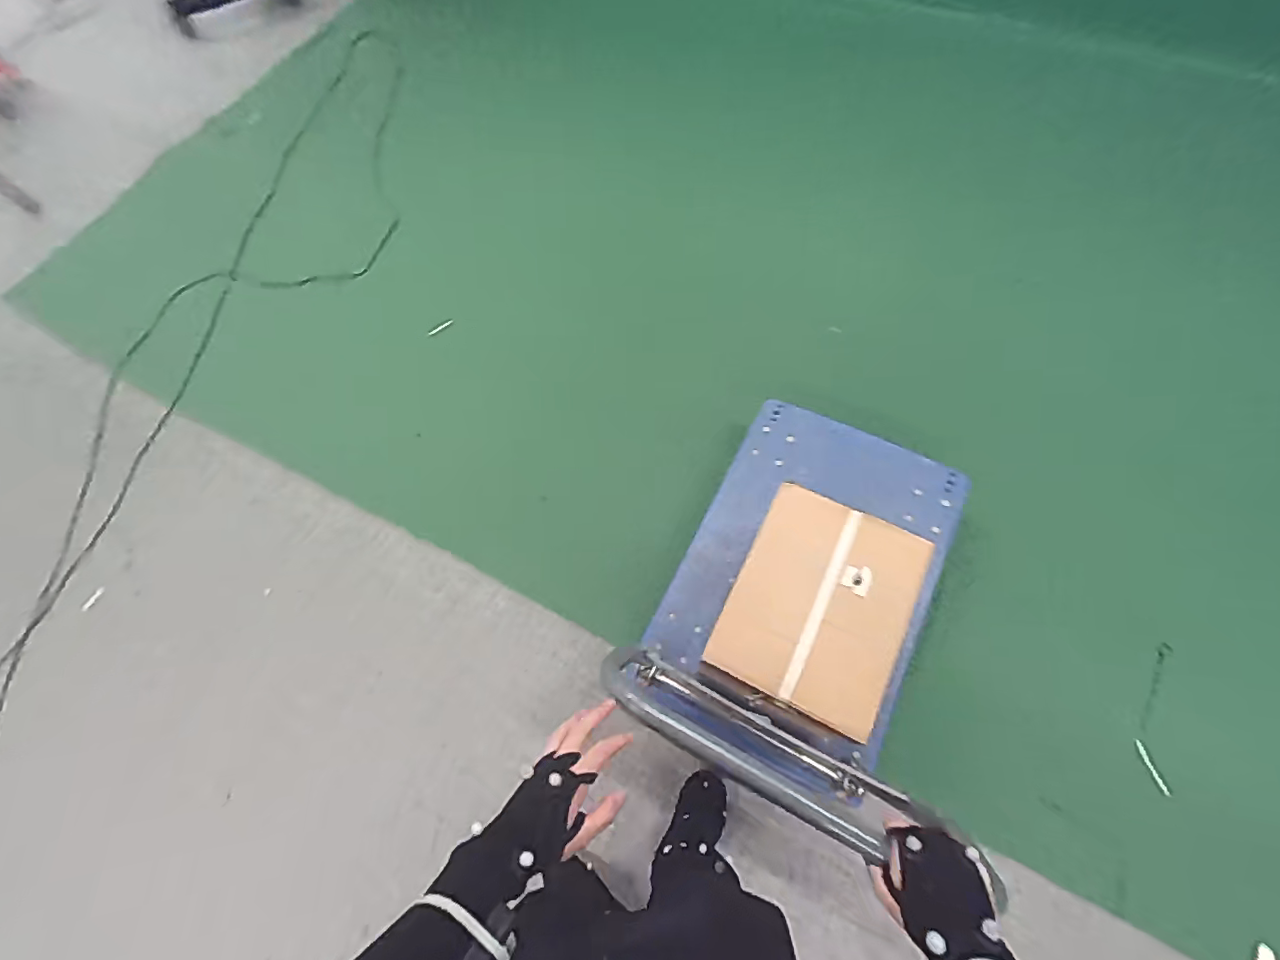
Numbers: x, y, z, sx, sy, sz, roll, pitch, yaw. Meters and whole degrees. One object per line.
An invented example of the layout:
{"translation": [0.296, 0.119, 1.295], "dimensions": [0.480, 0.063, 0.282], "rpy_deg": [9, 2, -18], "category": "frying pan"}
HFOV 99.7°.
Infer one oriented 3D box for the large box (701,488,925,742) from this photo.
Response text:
{"translation": [0.351, 0.298, 1.173], "dimensions": [0.320, 0.320, 0.408], "rpy_deg": [25, 70, 14], "category": "large box"}
